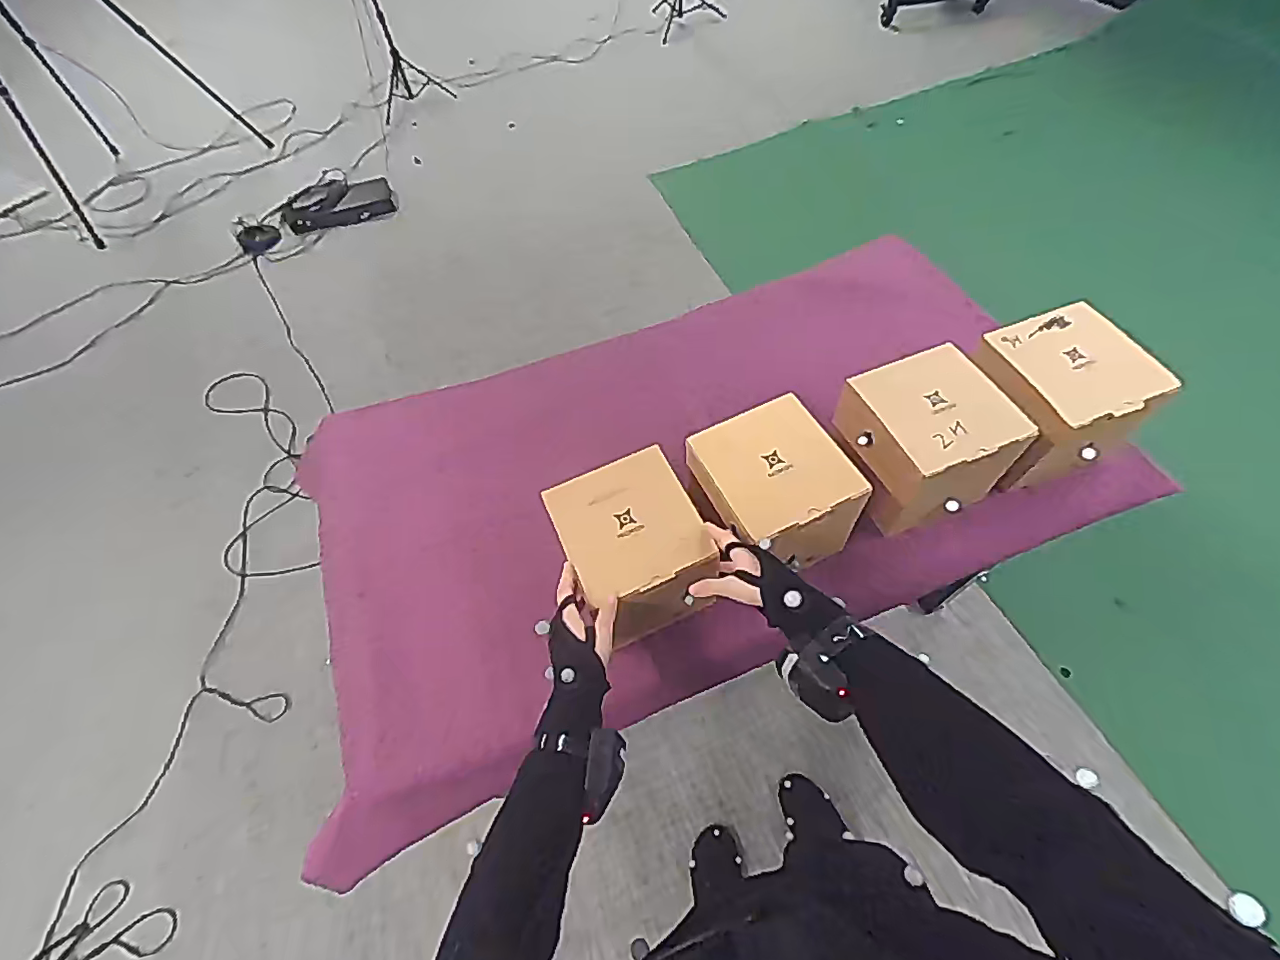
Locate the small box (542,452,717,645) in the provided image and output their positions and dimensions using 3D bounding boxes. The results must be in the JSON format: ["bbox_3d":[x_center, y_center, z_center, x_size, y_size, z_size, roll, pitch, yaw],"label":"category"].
[{"bbox_3d":[-0.009,0.100,0.713,0.168,0.176,0.179,-23,59,-8],"label":"small box"}]
